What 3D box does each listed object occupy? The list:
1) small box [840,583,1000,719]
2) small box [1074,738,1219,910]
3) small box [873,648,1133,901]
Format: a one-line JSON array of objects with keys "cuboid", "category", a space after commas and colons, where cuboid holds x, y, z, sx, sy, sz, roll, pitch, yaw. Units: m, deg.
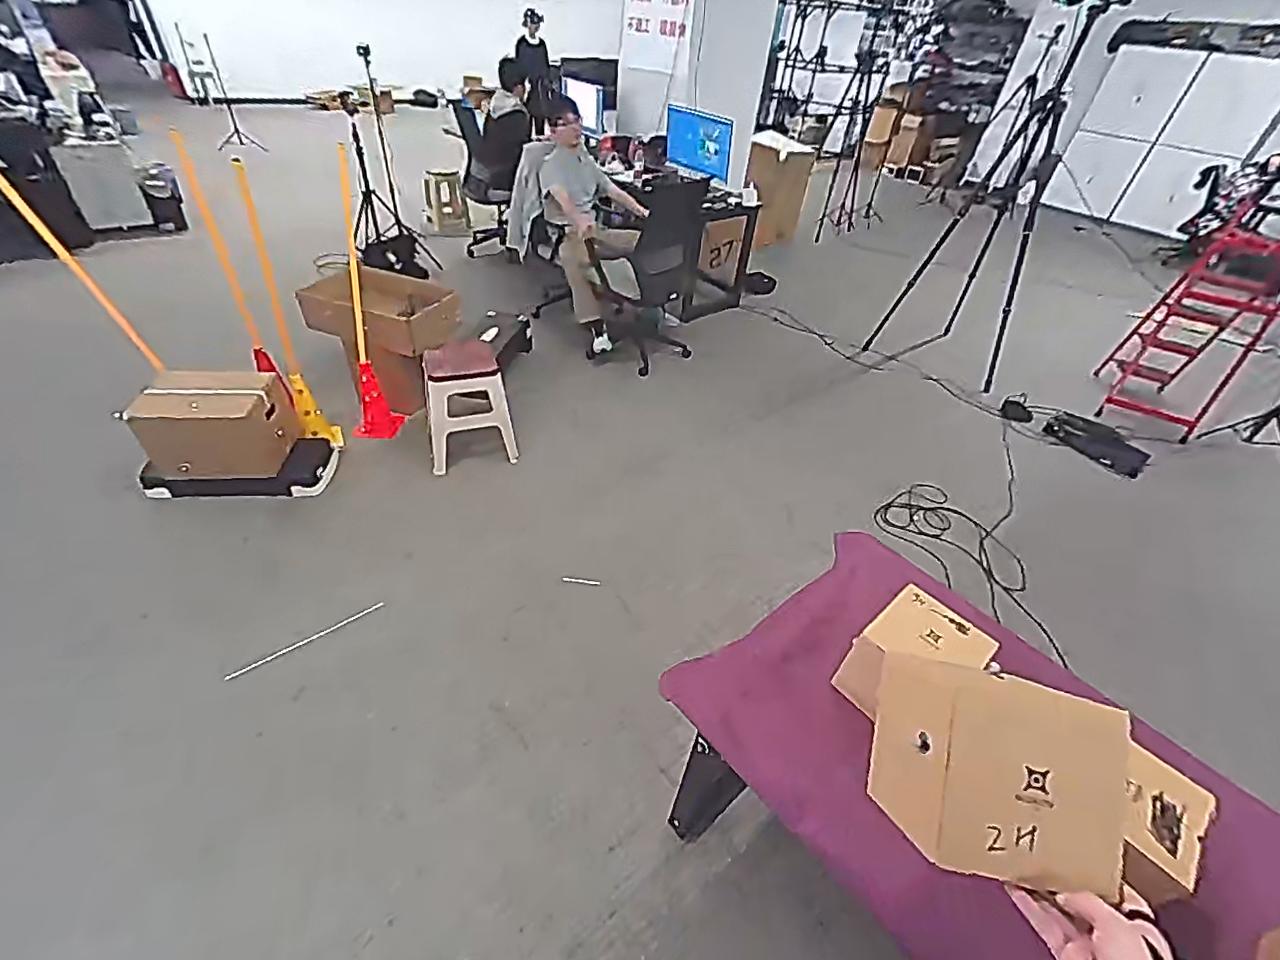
[{"cuboid": [0.477, 0.322, 0.949, 0.179, 0.176, 0.168, -27, 51, -32], "category": "small box"}, {"cuboid": [0.664, 0.480, 0.789, 0.168, 0.176, 0.179, -27, 49, -32], "category": "small box"}, {"cuboid": [0.371, 0.292, 0.582, 0.168, 0.176, 0.179, 12, 82, 4], "category": "small box"}]
